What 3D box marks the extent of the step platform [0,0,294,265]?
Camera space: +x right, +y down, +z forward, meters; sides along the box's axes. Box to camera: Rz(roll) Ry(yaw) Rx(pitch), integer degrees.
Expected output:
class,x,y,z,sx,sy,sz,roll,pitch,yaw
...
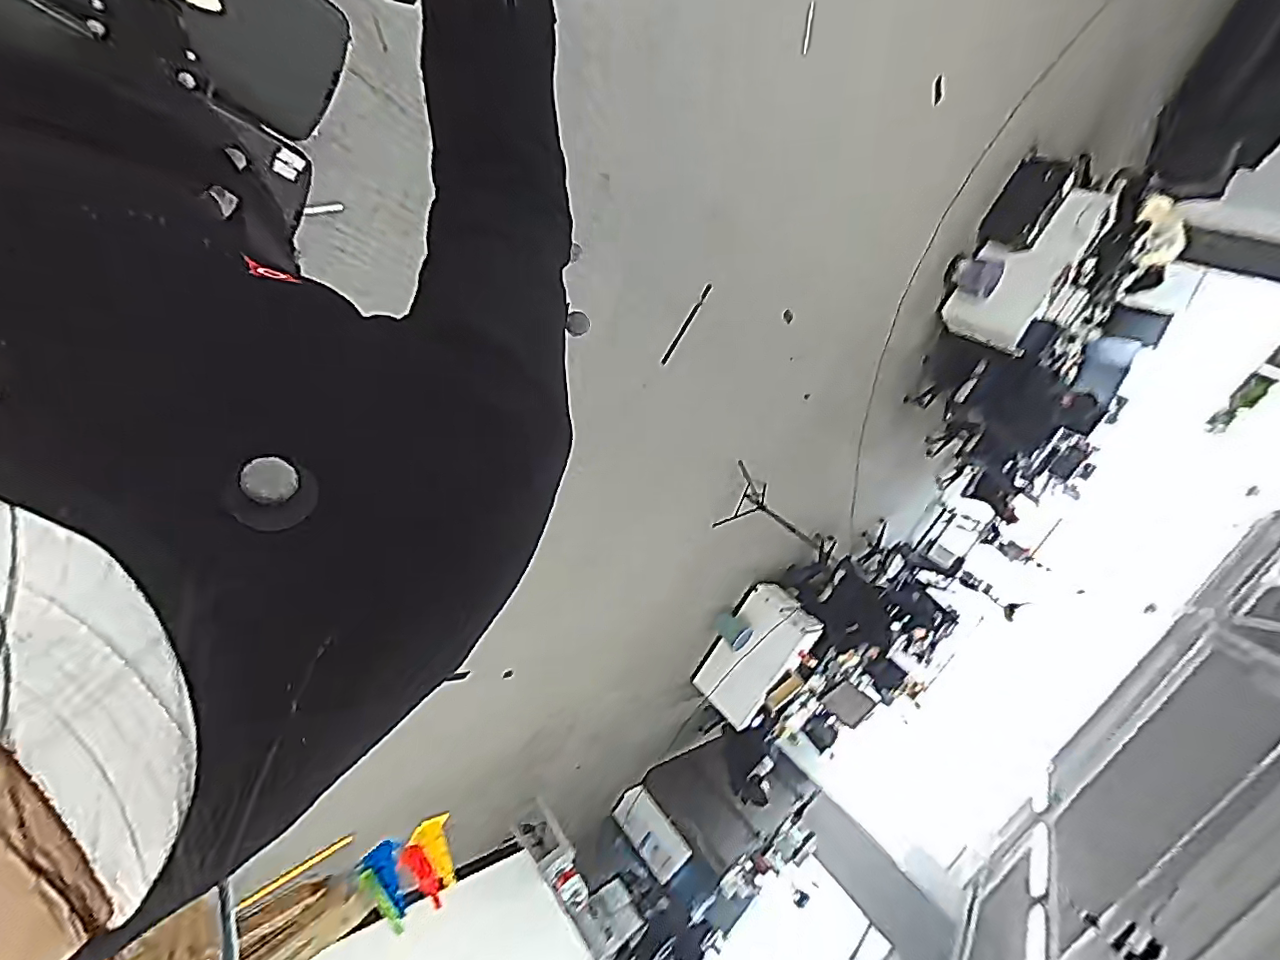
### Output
class,x,y,z,sx,sy,sz,roll,pitch,yaw
step platform,-1.015,-0.660,0.946,0.684,0.204,0.286,14,110,-50
